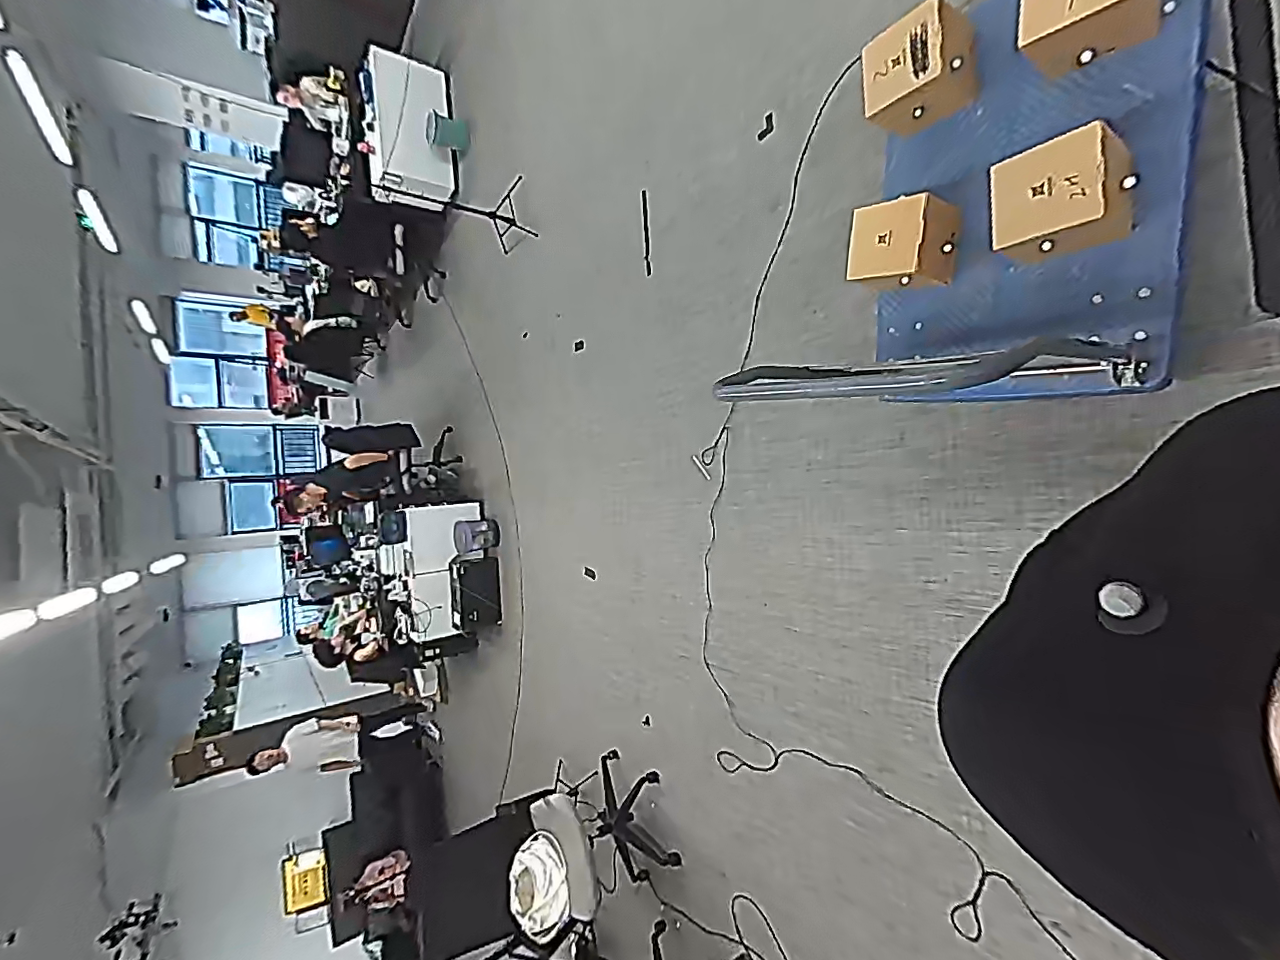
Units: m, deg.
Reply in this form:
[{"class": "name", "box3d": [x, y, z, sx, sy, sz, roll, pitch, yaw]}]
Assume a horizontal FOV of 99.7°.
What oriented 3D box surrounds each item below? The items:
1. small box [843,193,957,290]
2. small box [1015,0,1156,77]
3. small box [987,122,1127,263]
[{"class": "small box", "box3d": [0.617, -0.556, 1.287, 0.179, 0.176, 0.168, 16, 105, 51]}, {"class": "small box", "box3d": [0.814, -0.890, 0.983, 0.168, 0.176, 0.179, 10, 102, 53]}, {"class": "small box", "box3d": [0.799, -0.536, 1.039, 0.179, 0.176, 0.168, 0, 93, 54]}]
